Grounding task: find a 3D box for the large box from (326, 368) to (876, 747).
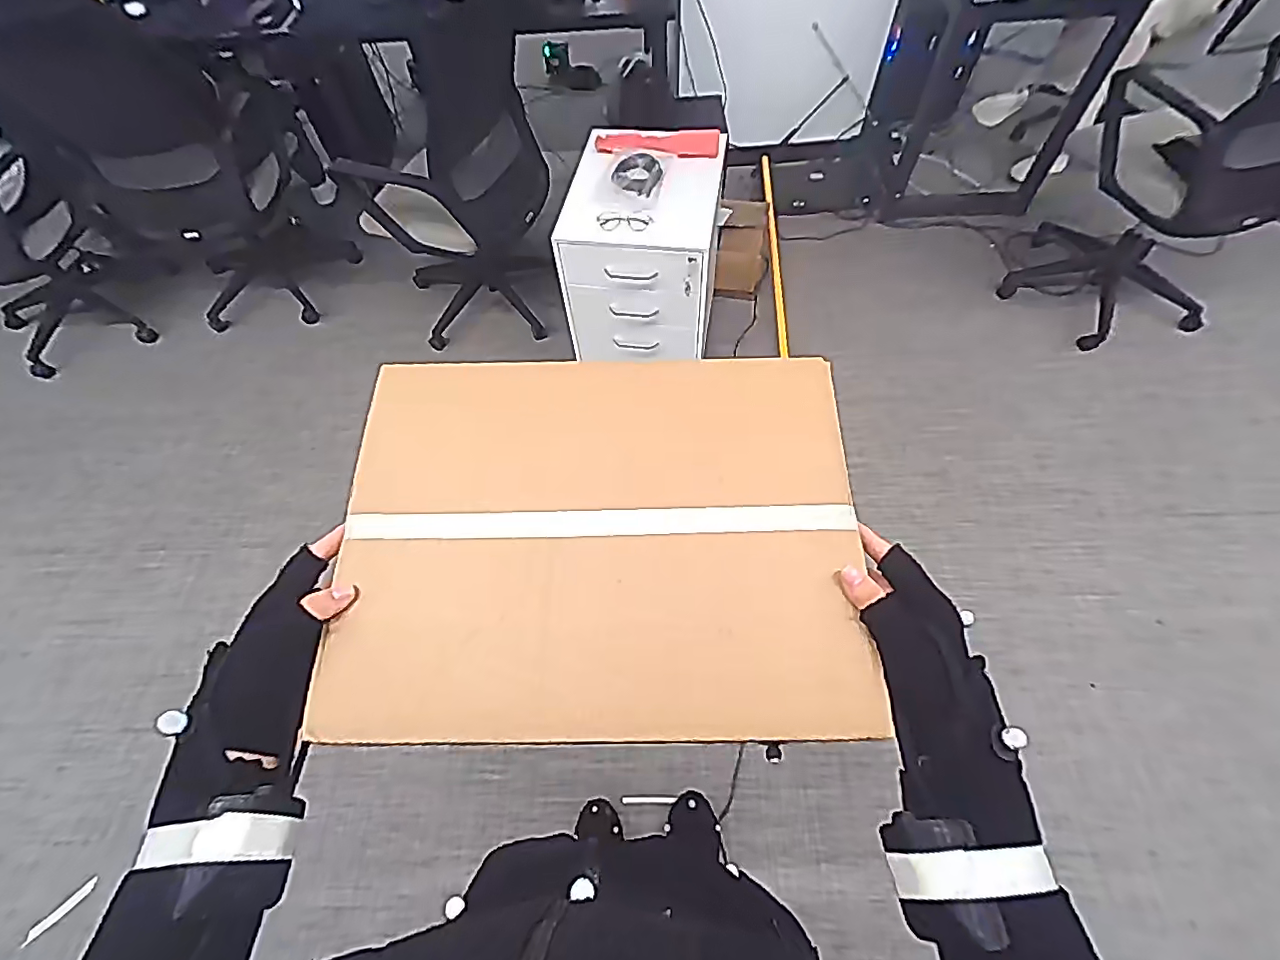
[{"bbox_3d":[-0.027,0.101,0.580,0.408,0.320,0.320,-1,66,1],"label":"large box"}]
